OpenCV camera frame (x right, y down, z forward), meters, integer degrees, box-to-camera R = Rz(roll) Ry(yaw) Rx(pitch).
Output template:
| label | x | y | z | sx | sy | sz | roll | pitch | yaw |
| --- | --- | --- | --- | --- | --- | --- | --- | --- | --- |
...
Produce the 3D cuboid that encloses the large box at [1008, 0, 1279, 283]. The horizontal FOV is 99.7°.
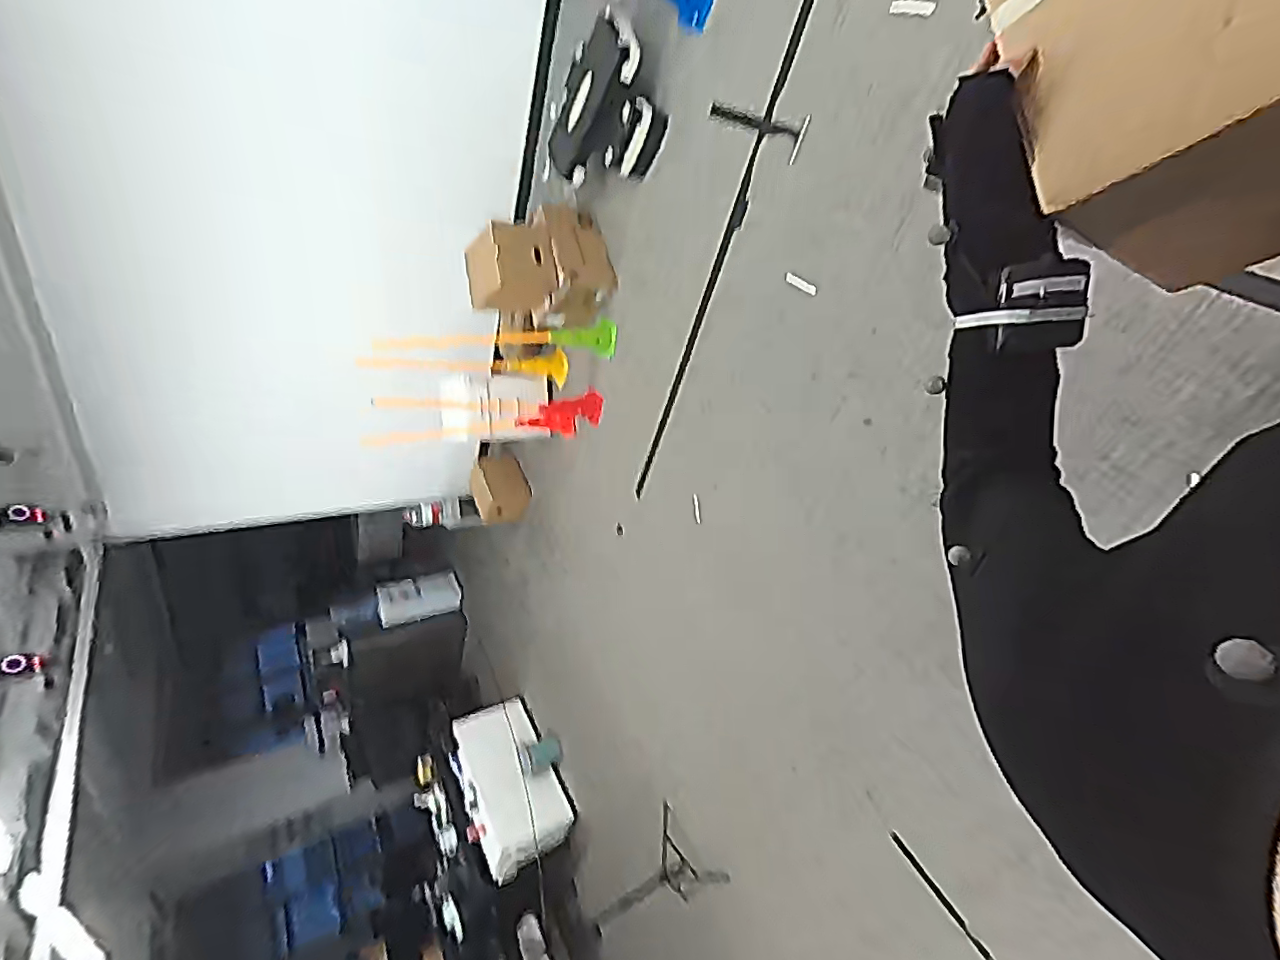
| label | x | y | z | sx | sy | sz | roll | pitch | yaw |
| --- | --- | --- | --- | --- | --- | --- | --- | --- | --- |
| large box | 0.511 | -0.382 | 0.330 | 0.408 | 0.320 | 0.320 | -18 | 76 | 55 |
